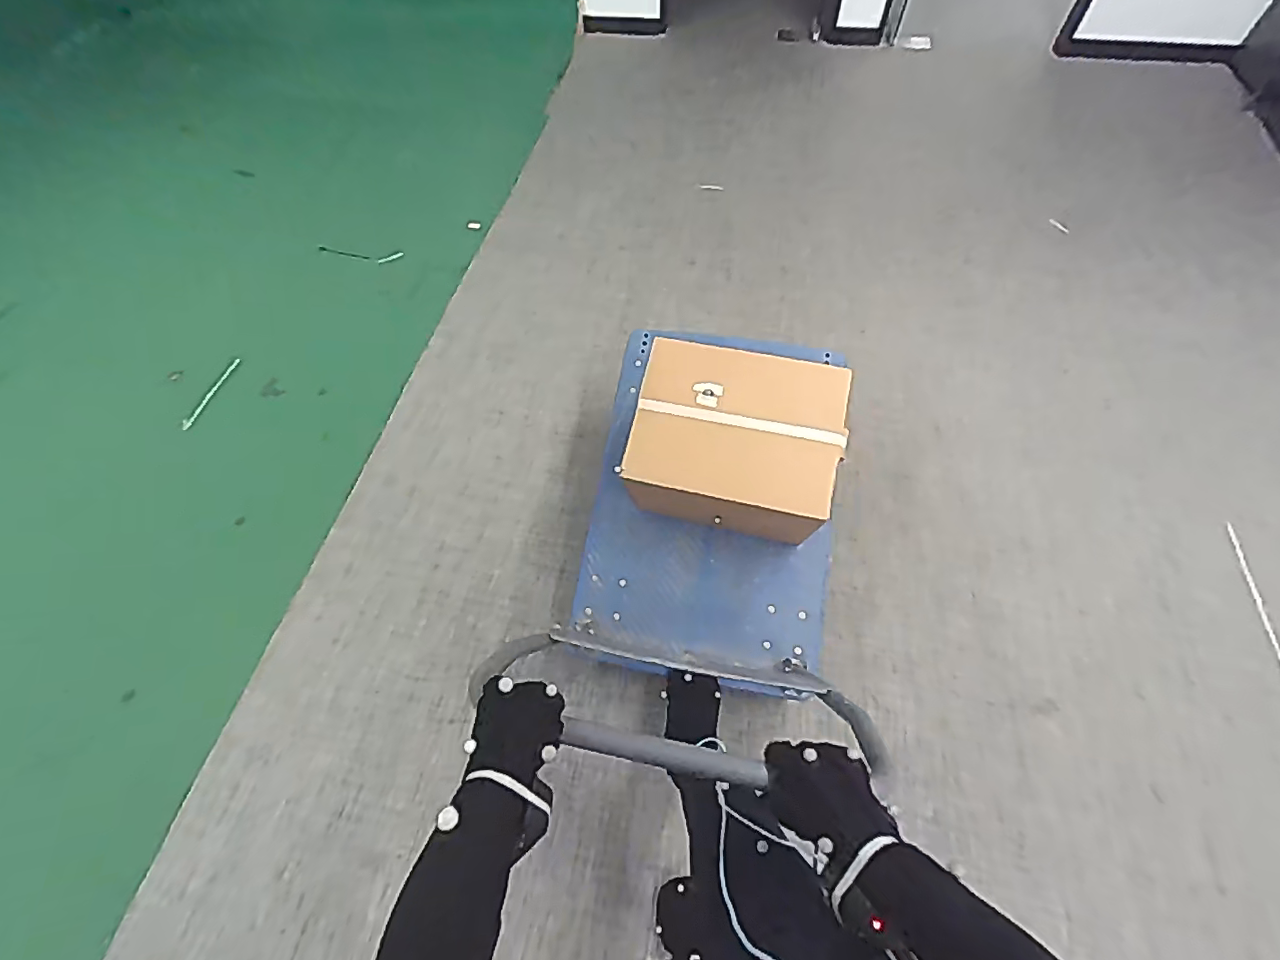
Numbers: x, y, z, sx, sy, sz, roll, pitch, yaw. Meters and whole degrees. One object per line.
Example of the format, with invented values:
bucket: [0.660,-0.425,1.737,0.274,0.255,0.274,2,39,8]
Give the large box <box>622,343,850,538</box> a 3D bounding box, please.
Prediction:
large box: [0.210,-0.073,1.200,0.408,0.320,0.320,11,77,11]
